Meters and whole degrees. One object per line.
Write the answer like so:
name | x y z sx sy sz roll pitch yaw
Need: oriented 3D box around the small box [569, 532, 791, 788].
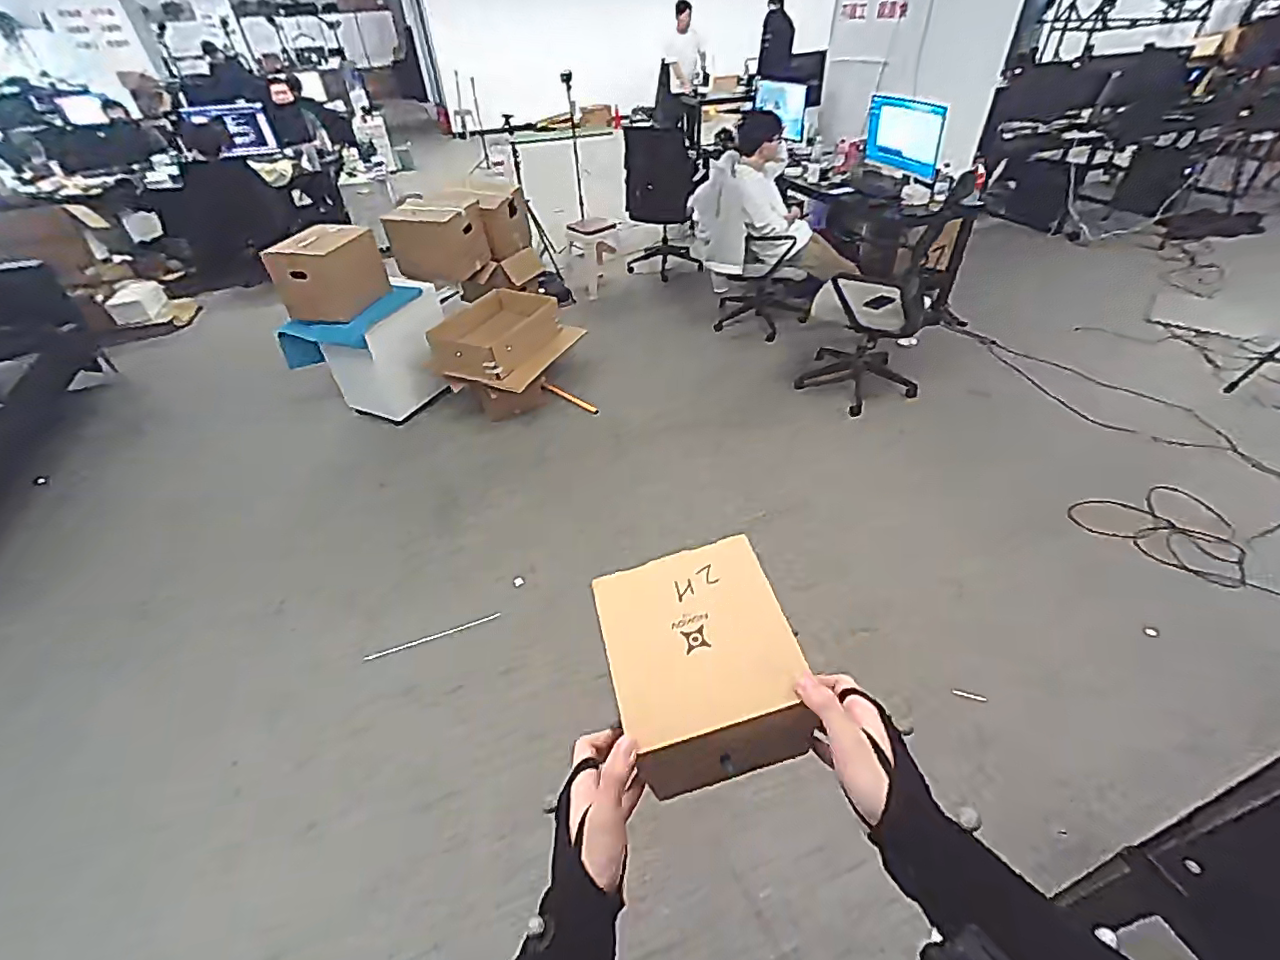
small box | 0.037 0.185 0.536 0.168 0.176 0.179 -14 48 -2
